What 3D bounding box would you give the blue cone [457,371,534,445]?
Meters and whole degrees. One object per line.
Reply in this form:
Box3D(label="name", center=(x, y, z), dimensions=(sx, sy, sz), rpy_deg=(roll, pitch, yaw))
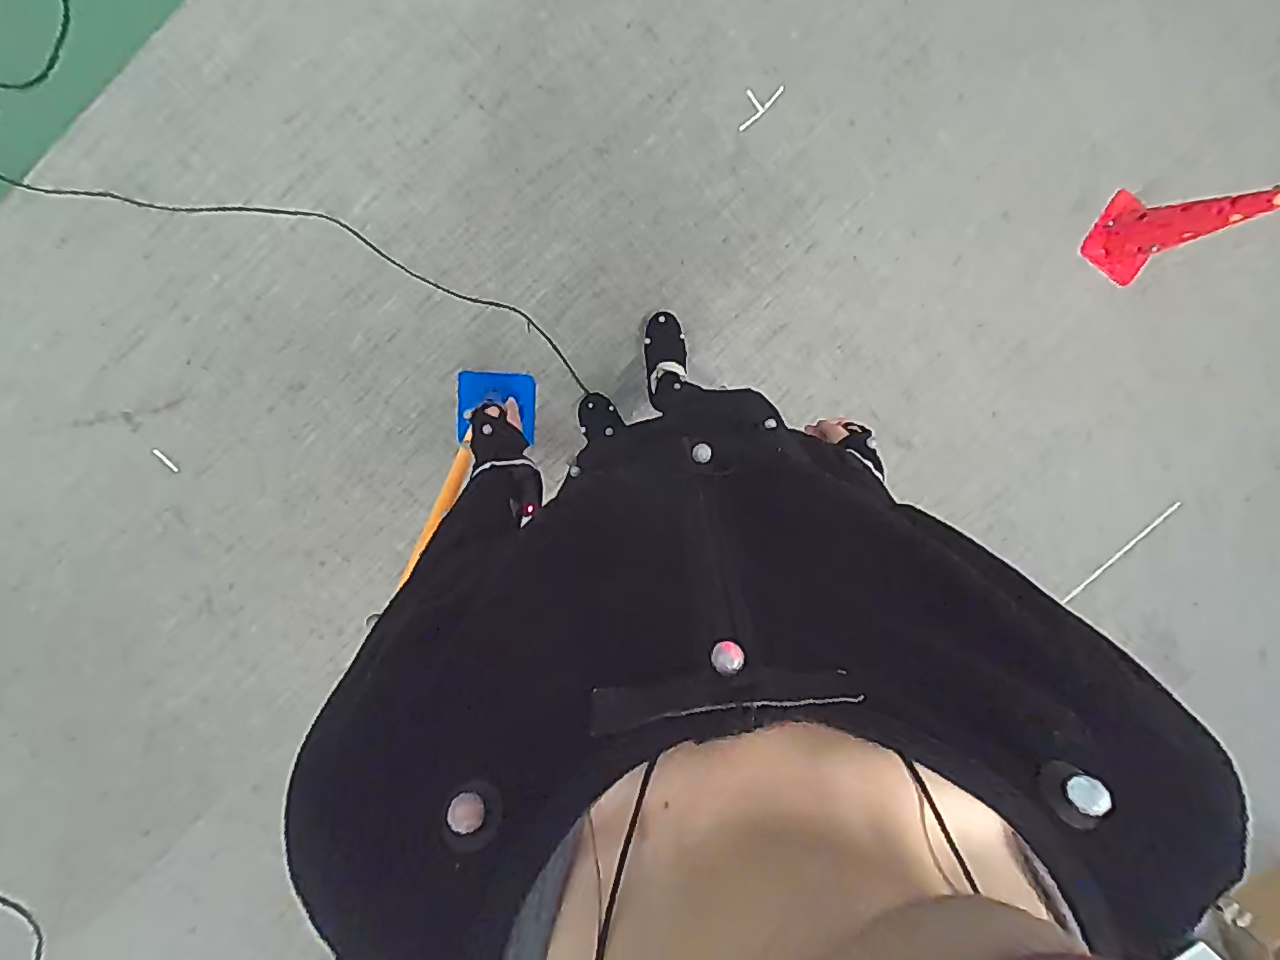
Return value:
Box3D(label="blue cone", center=(-0.352, -0.144, 1.249), dimensions=(0.192, 0.380, 0.193), rpy_deg=(0, 104, -8))
